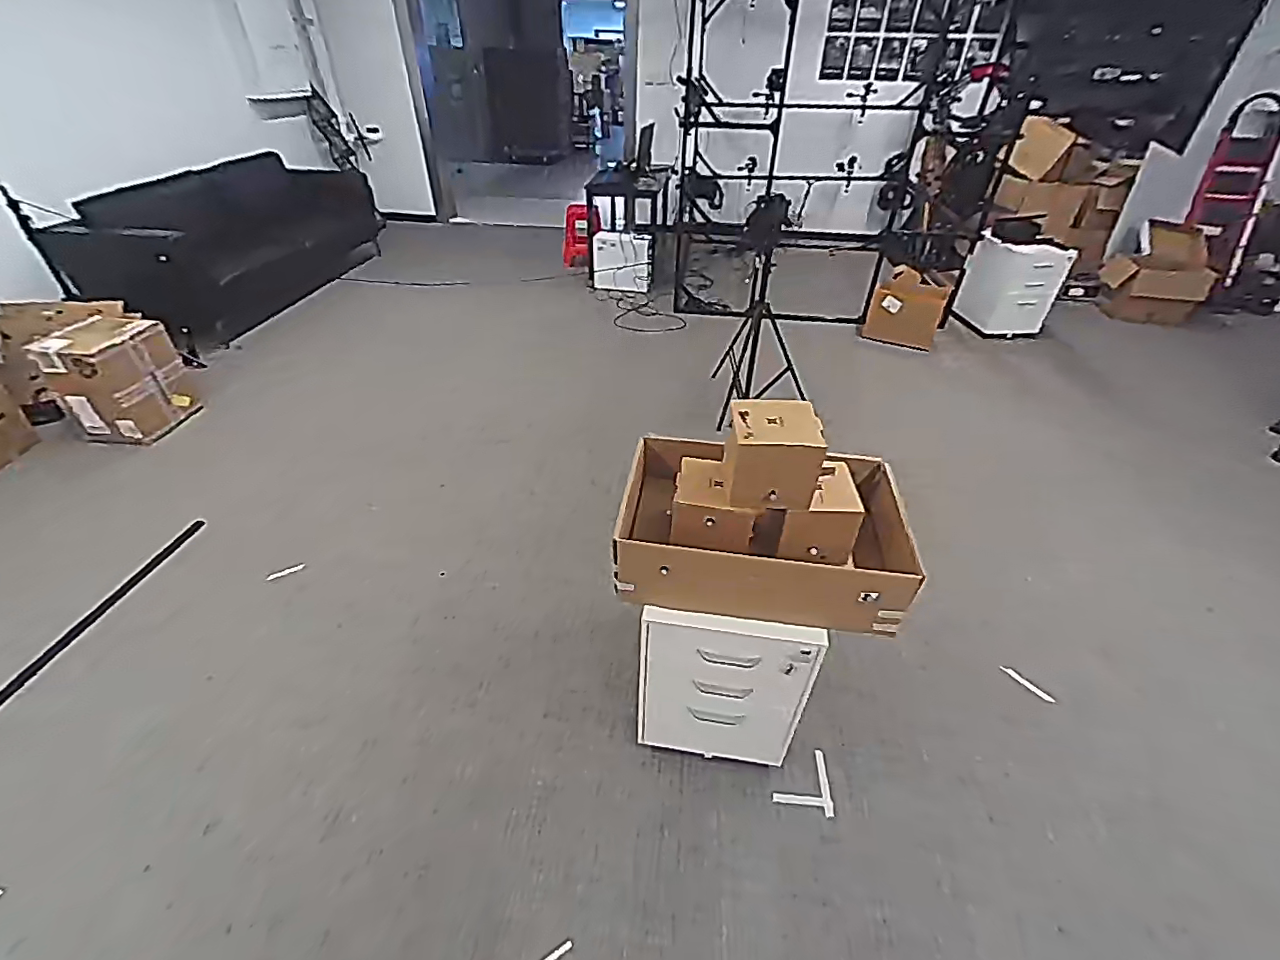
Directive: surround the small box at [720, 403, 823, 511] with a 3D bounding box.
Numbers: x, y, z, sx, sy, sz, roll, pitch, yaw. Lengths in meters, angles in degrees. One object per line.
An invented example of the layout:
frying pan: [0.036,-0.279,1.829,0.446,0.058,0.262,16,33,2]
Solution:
small box: [0.273,-0.047,1.162,0.179,0.176,0.168,3,39,1]
